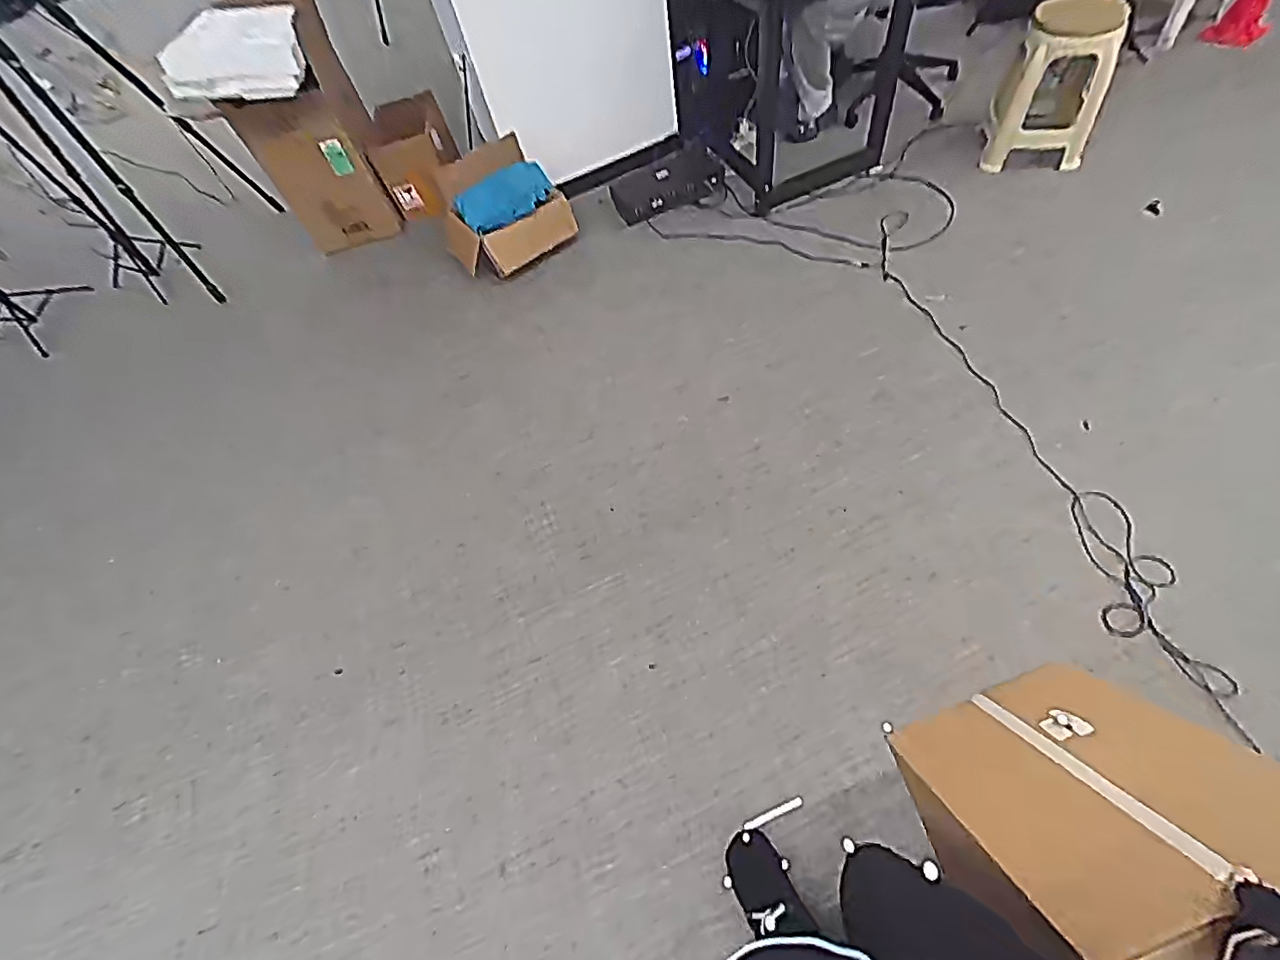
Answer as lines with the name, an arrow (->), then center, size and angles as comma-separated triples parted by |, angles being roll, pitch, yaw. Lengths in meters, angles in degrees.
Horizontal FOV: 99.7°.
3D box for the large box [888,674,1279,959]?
large box -> 0.604, 0.515, 0.682 | 0.320, 0.408, 0.320 | -22, 92, -1
